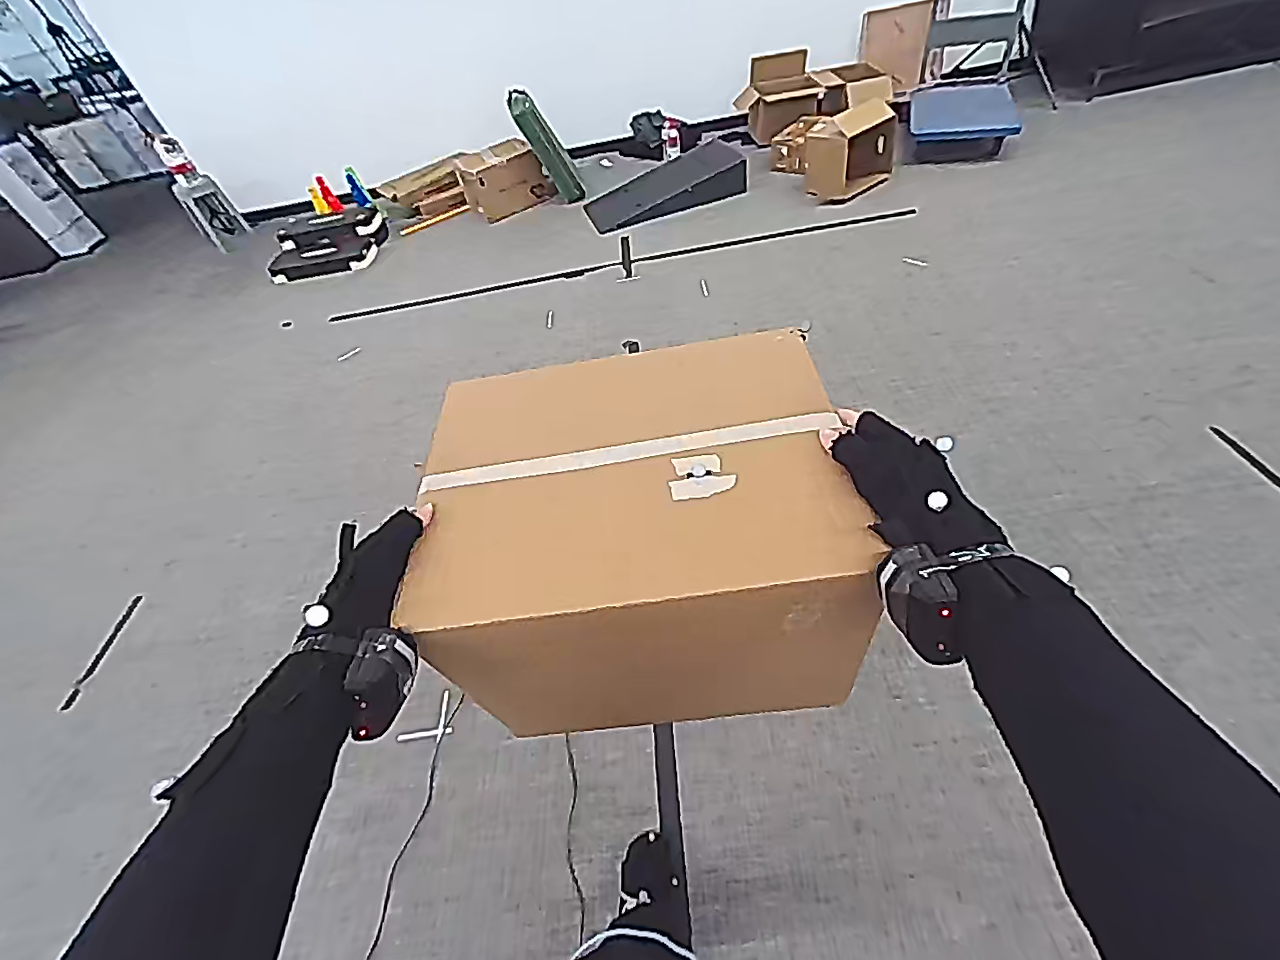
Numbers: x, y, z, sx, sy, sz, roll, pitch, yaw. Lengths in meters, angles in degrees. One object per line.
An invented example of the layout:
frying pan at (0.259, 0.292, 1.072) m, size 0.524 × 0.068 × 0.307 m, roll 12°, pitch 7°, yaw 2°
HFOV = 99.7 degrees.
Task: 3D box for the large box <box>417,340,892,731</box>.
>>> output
large box at (0.016, 0.077, 0.647) m, size 0.408 × 0.320 × 0.320 m, roll -8°, pitch 50°, yaw 4°
